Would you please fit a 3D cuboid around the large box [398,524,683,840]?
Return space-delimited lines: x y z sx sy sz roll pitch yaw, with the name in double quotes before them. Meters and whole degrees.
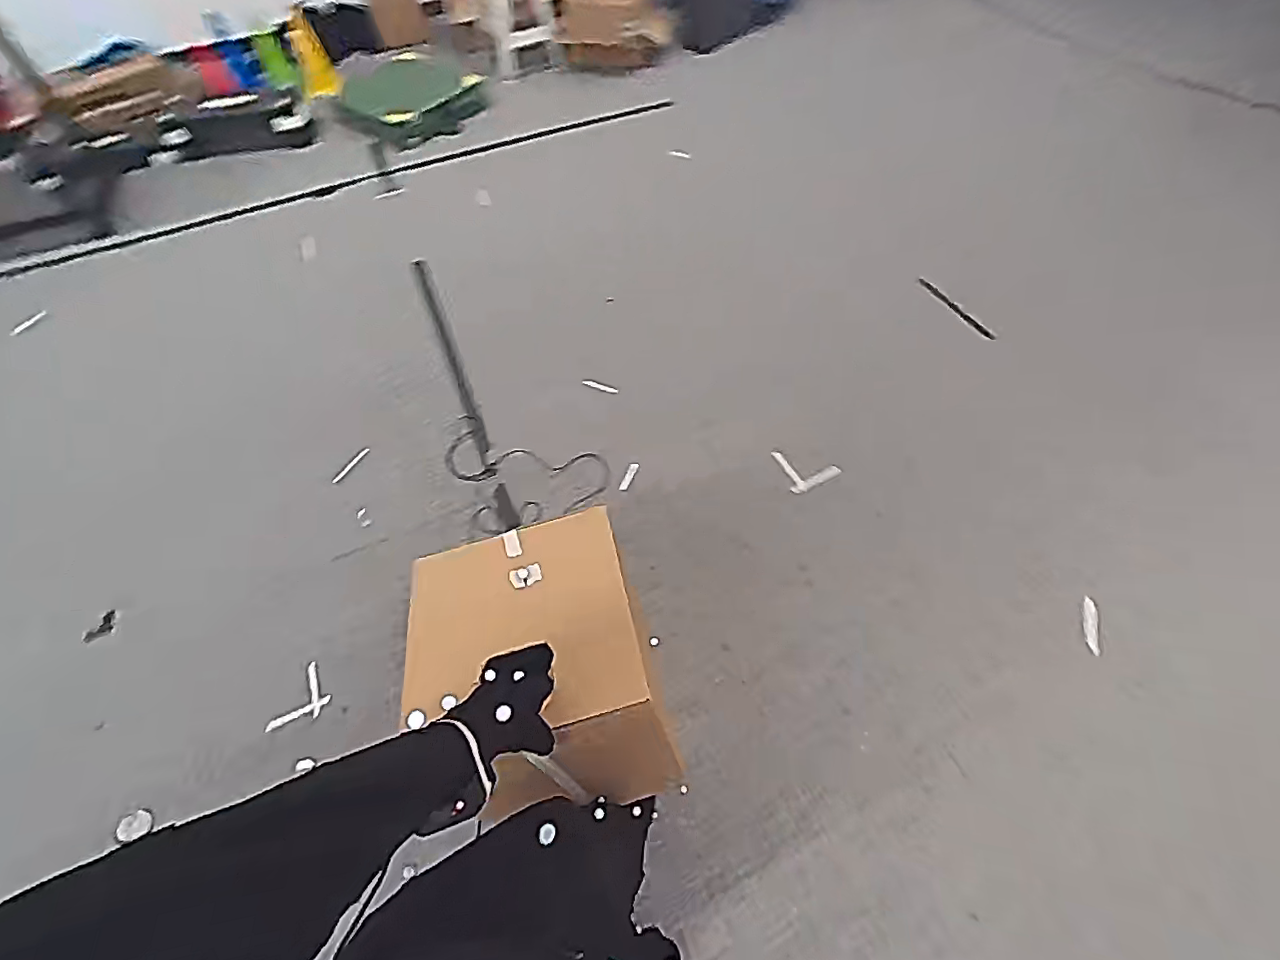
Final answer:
"large box" -0.144 0.338 0.879 0.320 0.408 0.320 -17 49 -2
